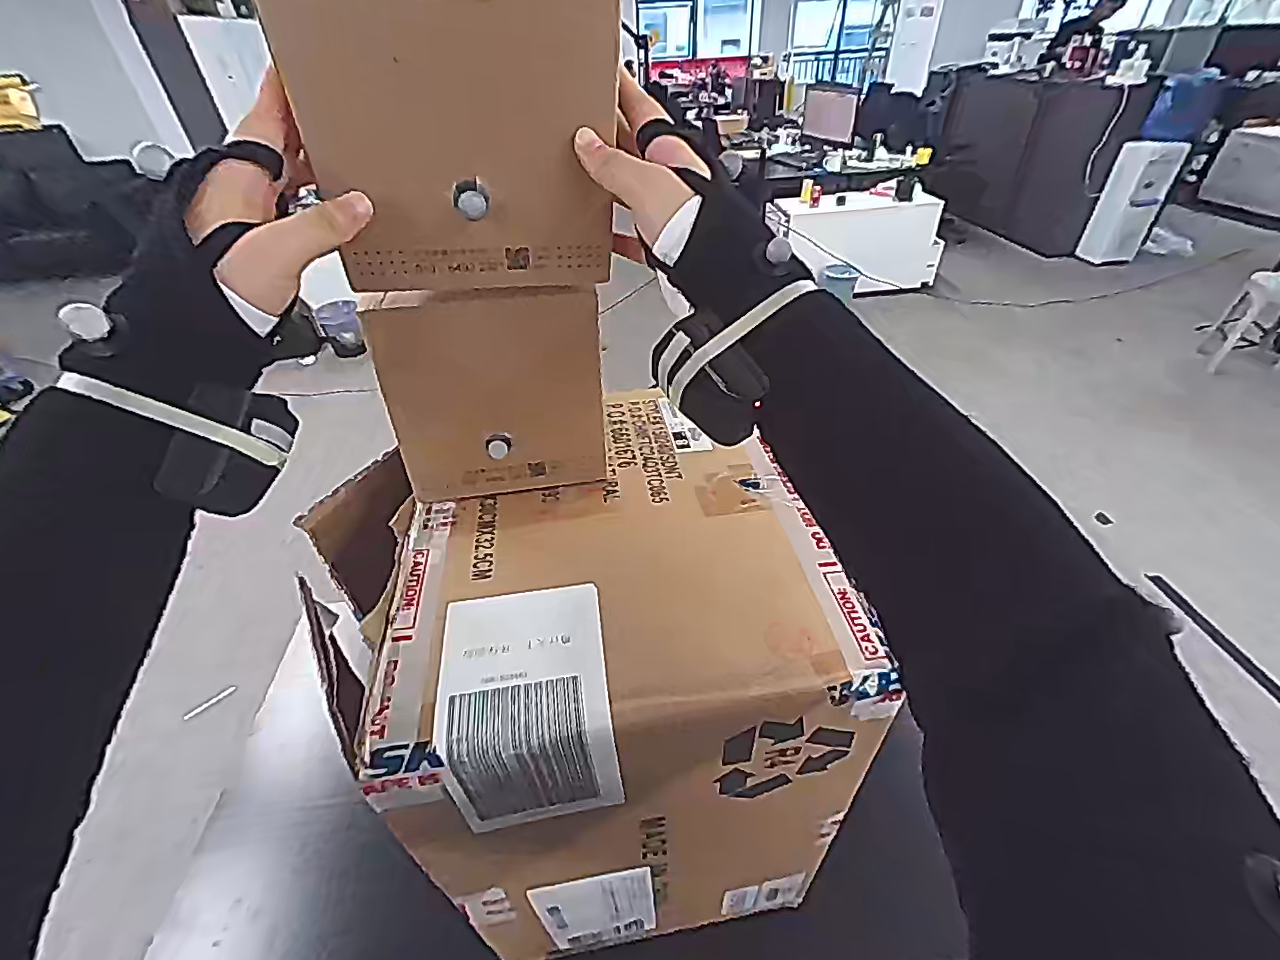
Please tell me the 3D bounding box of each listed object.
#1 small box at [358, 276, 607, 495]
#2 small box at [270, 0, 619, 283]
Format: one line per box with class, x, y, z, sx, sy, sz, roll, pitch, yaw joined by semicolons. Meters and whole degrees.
small box;-0.124;-0.109;0.484;0.168;0.176;0.179;-8;38;-8
small box;-0.112;-0.246;0.350;0.168;0.176;0.179;-7;48;-11
